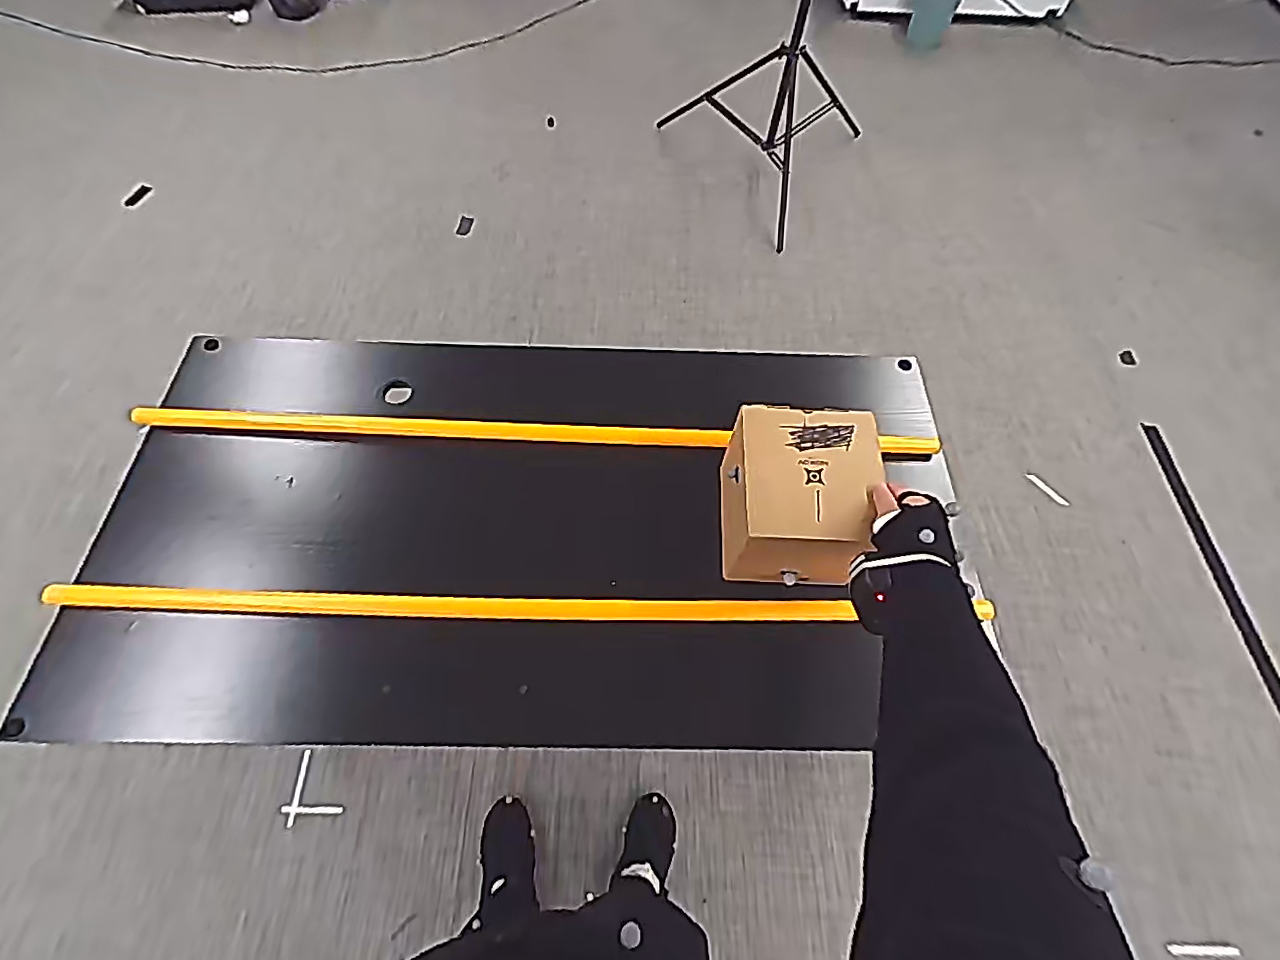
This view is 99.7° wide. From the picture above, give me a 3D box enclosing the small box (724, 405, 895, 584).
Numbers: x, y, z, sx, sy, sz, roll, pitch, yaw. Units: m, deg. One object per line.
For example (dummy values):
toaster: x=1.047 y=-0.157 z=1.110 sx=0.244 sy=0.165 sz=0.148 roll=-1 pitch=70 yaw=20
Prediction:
small box: x=0.203 y=0.024 z=0.705 sx=0.168 sy=0.176 sz=0.179 roll=3 pitch=64 yaw=0
